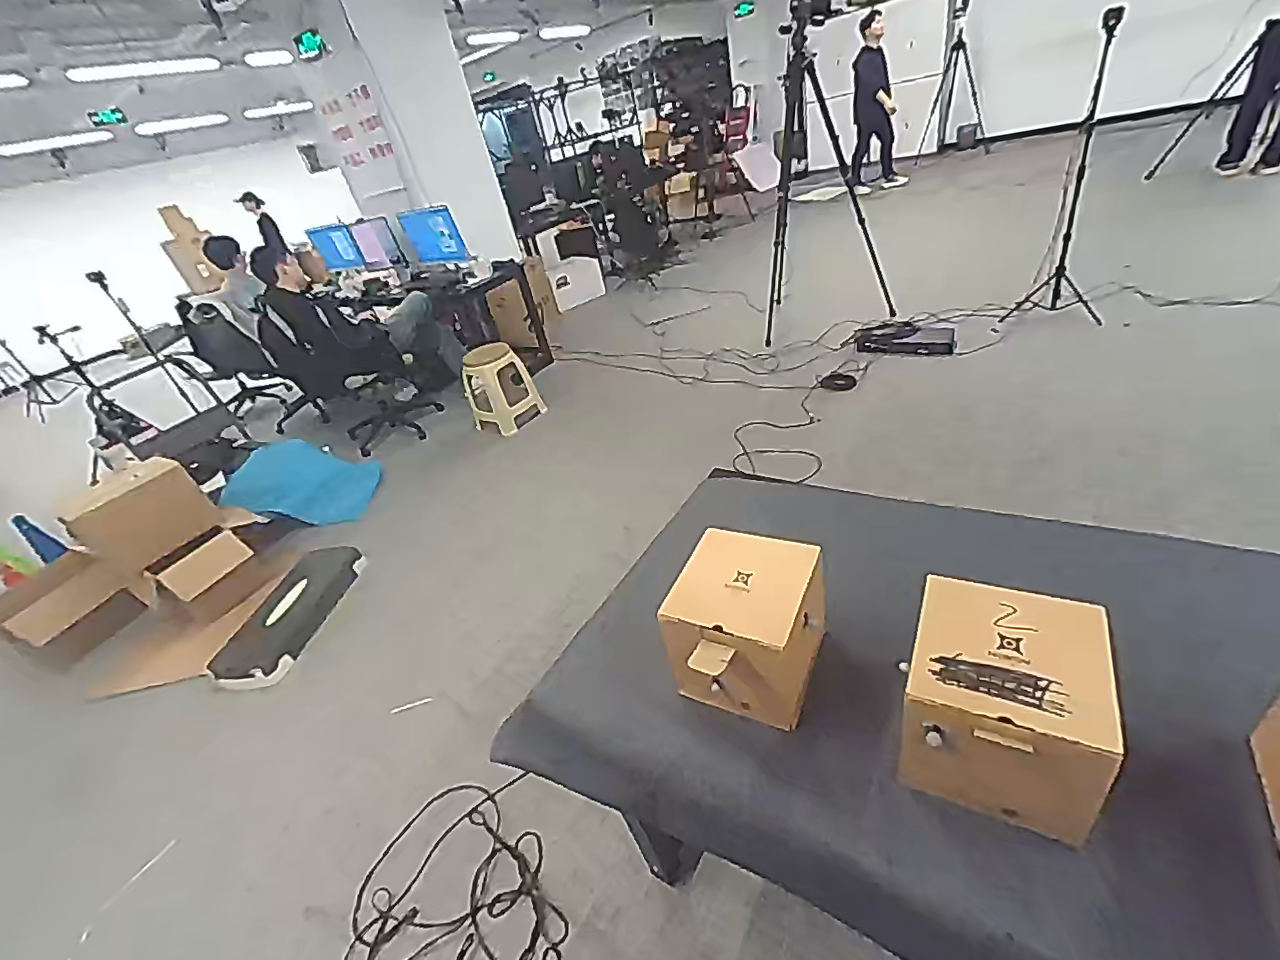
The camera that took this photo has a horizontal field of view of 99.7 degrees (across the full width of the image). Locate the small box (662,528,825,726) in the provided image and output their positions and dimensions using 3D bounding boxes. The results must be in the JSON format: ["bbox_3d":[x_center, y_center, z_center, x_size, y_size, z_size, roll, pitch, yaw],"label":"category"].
[{"bbox_3d":[0.149,0.194,0.741,0.168,0.176,0.179,8,40,30],"label":"small box"}]

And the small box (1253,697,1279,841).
[{"bbox_3d":[0.659,0.267,0.434,0.168,0.176,0.179,9,38,31],"label":"small box"}]
